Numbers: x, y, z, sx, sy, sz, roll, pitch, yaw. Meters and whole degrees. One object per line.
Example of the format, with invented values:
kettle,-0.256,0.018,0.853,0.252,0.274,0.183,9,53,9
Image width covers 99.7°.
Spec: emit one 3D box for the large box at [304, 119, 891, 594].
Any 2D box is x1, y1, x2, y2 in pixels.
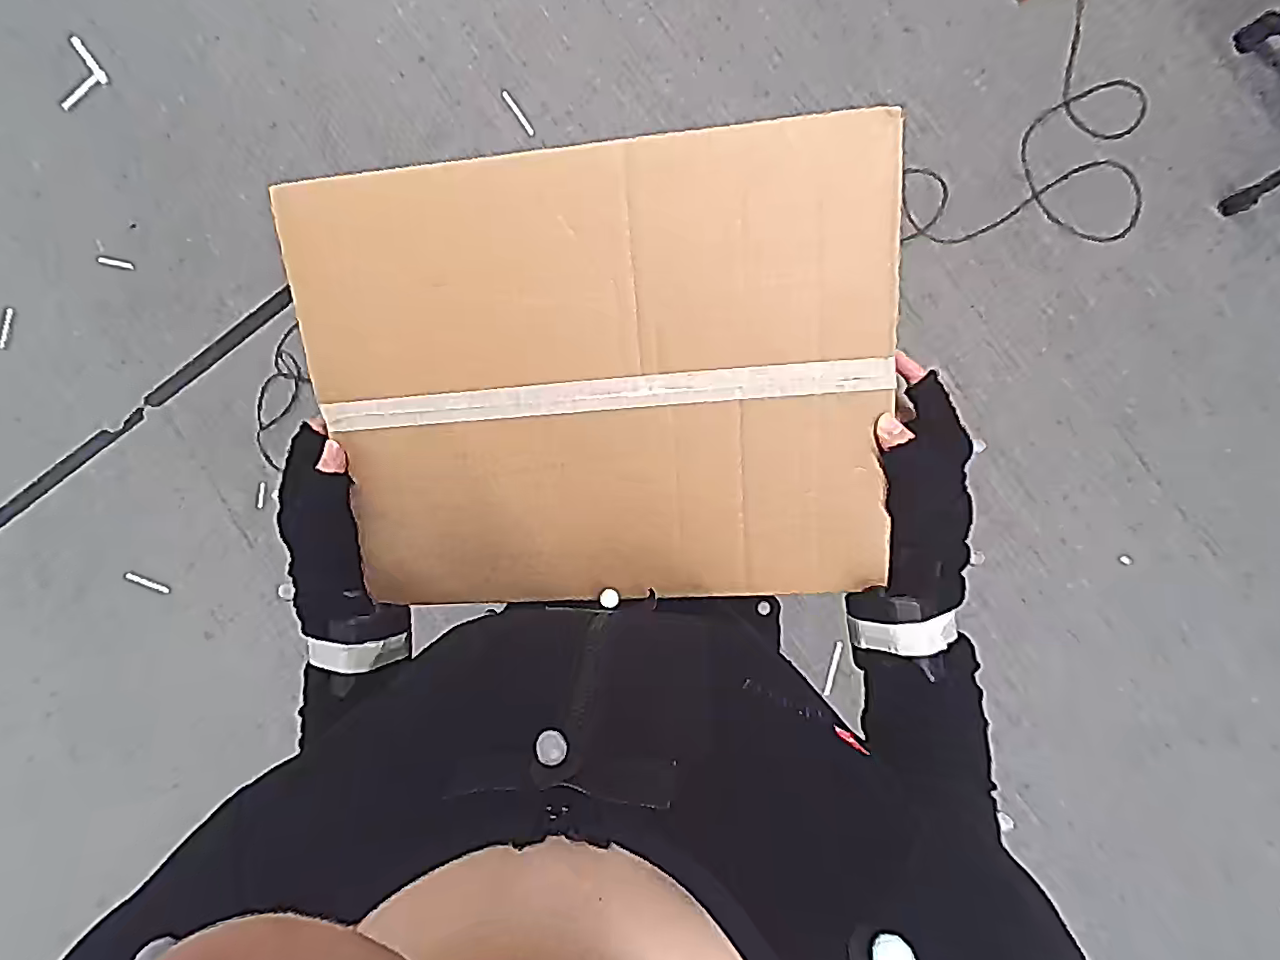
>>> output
large box,-0.015,-0.103,0.537,0.408,0.320,0.320,-3,107,7
